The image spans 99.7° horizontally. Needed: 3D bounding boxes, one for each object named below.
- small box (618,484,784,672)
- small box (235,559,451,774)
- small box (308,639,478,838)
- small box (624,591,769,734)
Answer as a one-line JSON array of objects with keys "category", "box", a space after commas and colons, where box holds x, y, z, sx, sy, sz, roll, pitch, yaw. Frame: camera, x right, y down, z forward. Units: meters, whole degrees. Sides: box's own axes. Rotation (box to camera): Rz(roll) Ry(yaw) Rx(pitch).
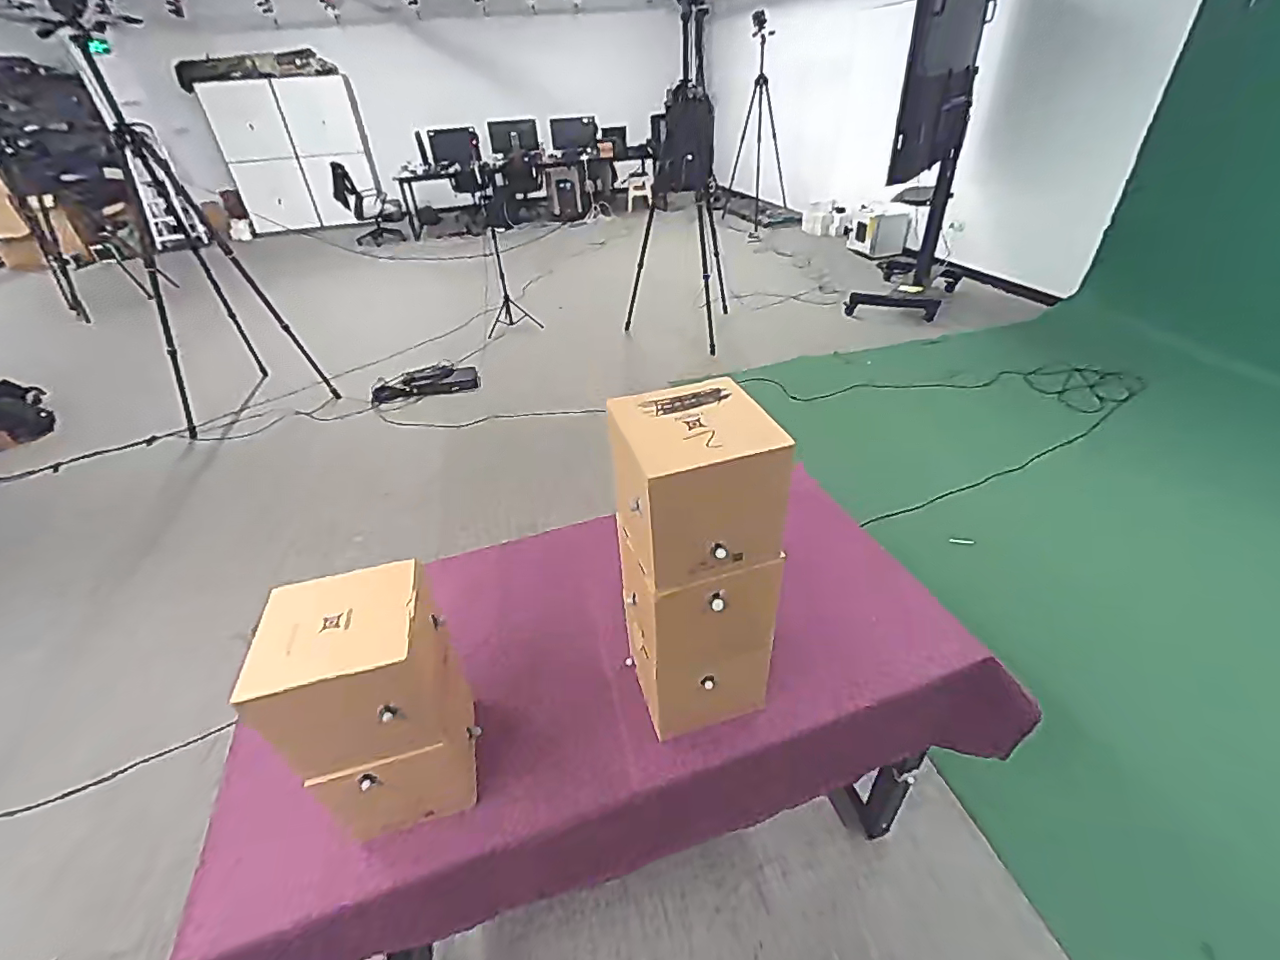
[{"category": "small box", "box": [0.078, 0.135, 0.755, 0.179, 0.176, 0.168, -14, 38, -11]}, {"category": "small box", "box": [-0.343, 0.228, 0.671, 0.179, 0.176, 0.168, -12, 37, -9]}, {"category": "small box", "box": [-0.333, 0.360, 0.768, 0.168, 0.176, 0.179, -13, 36, -10]}, {"category": "small box", "box": [0.085, 0.267, 0.851, 0.179, 0.176, 0.168, -13, 37, -11]}]
